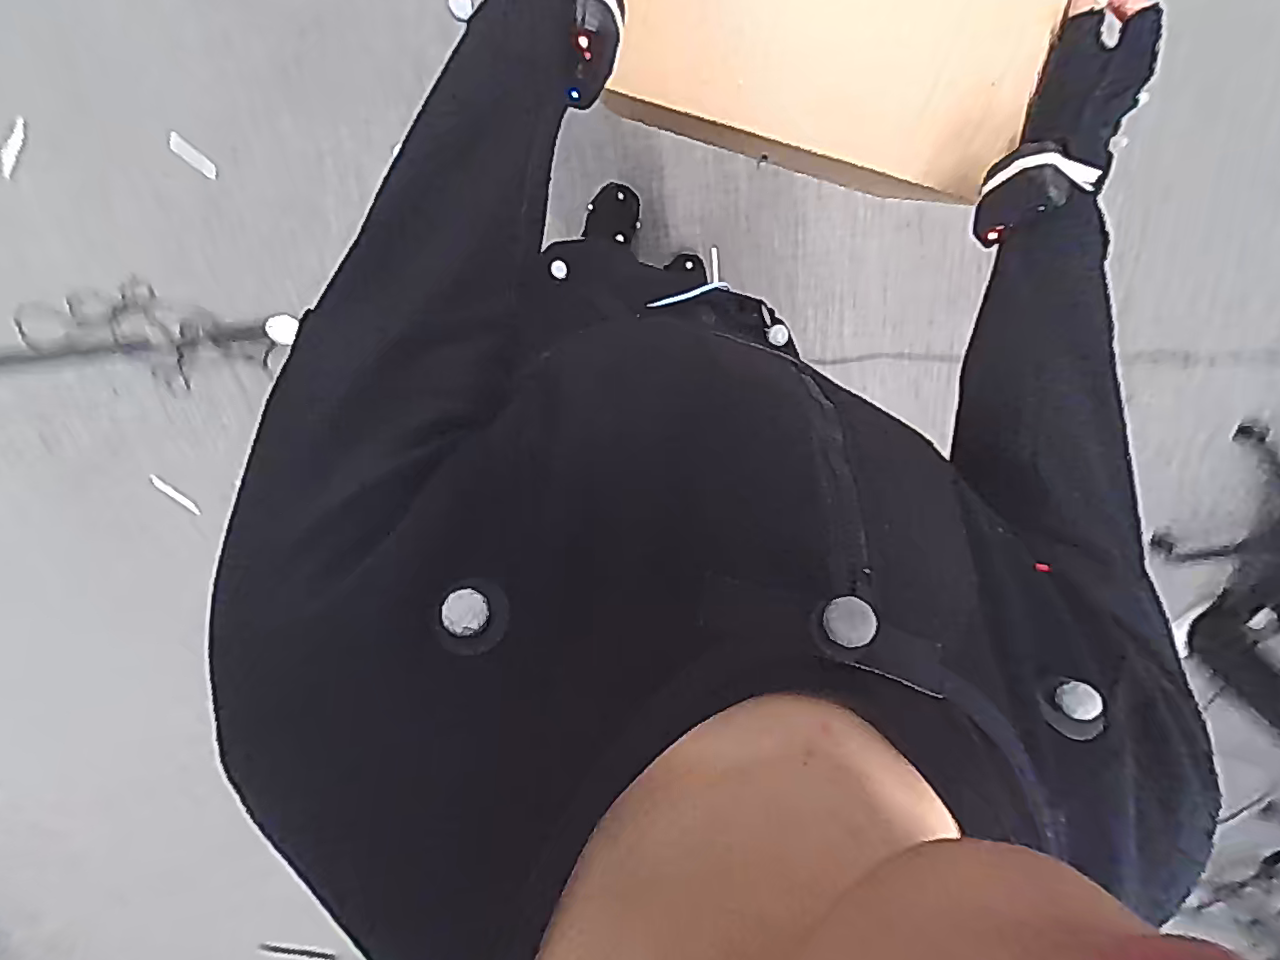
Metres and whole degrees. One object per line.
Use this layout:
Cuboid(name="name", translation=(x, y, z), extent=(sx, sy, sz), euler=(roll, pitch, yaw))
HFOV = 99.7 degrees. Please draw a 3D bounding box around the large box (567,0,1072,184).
Cuboid(name="large box", translation=(0.172, -0.517, 0.545), extent=(0.408, 0.320, 0.320), euler=(14, 119, -3))
